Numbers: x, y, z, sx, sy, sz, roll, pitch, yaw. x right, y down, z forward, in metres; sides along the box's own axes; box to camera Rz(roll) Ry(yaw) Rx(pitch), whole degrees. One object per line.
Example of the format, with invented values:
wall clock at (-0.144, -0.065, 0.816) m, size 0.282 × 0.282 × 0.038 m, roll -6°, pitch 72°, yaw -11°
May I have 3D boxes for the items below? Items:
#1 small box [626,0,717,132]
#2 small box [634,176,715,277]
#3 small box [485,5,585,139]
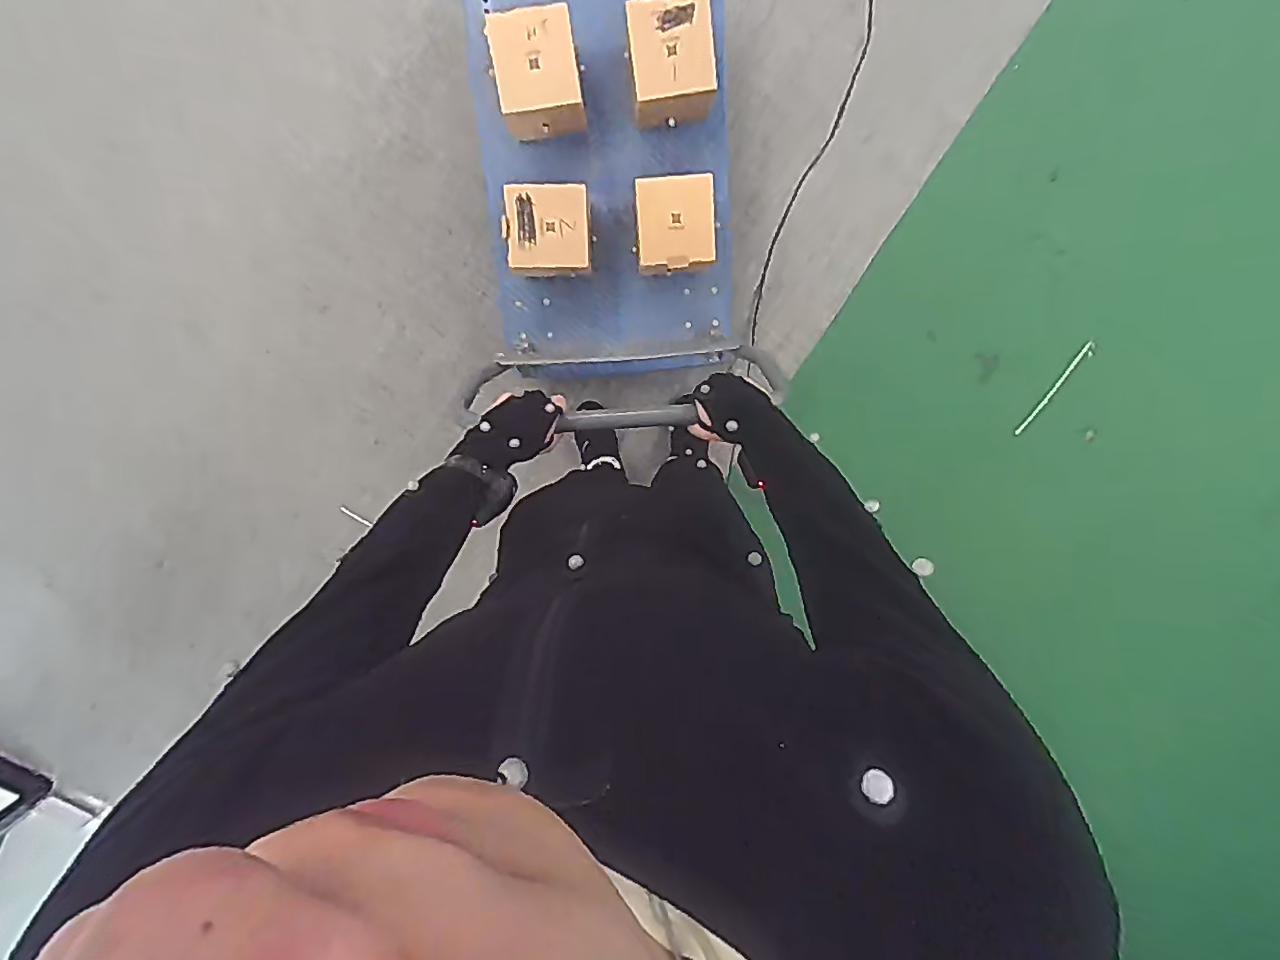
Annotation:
small box at (0.062, -0.875, 1.147) m, size 0.168 × 0.176 × 0.179 m, roll -8°, pitch 106°, yaw 1°
small box at (0.075, -0.569, 1.230) m, size 0.168 × 0.176 × 0.179 m, roll -4°, pitch 106°, yaw 0°
small box at (-0.213, -0.849, 1.146) m, size 0.168 × 0.176 × 0.179 m, roll -8°, pitch 105°, yaw 0°
